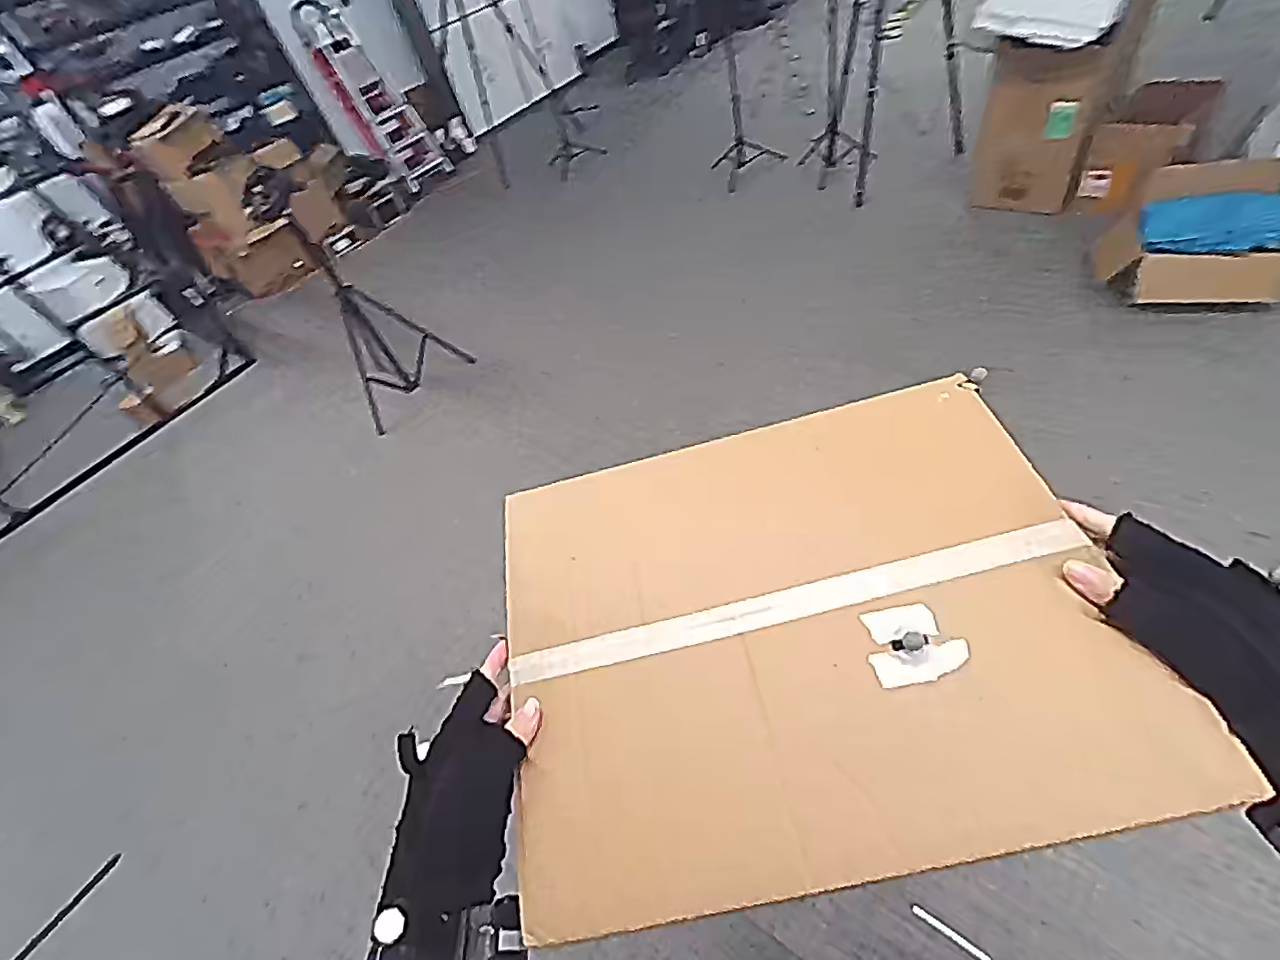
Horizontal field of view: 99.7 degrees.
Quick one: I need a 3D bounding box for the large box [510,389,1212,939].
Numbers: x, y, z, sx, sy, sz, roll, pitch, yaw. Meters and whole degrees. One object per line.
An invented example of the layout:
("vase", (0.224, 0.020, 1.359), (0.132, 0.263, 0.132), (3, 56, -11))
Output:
("large box", (0.129, 0.175, 0.514), (0.408, 0.320, 0.320), (-16, 56, 3))
